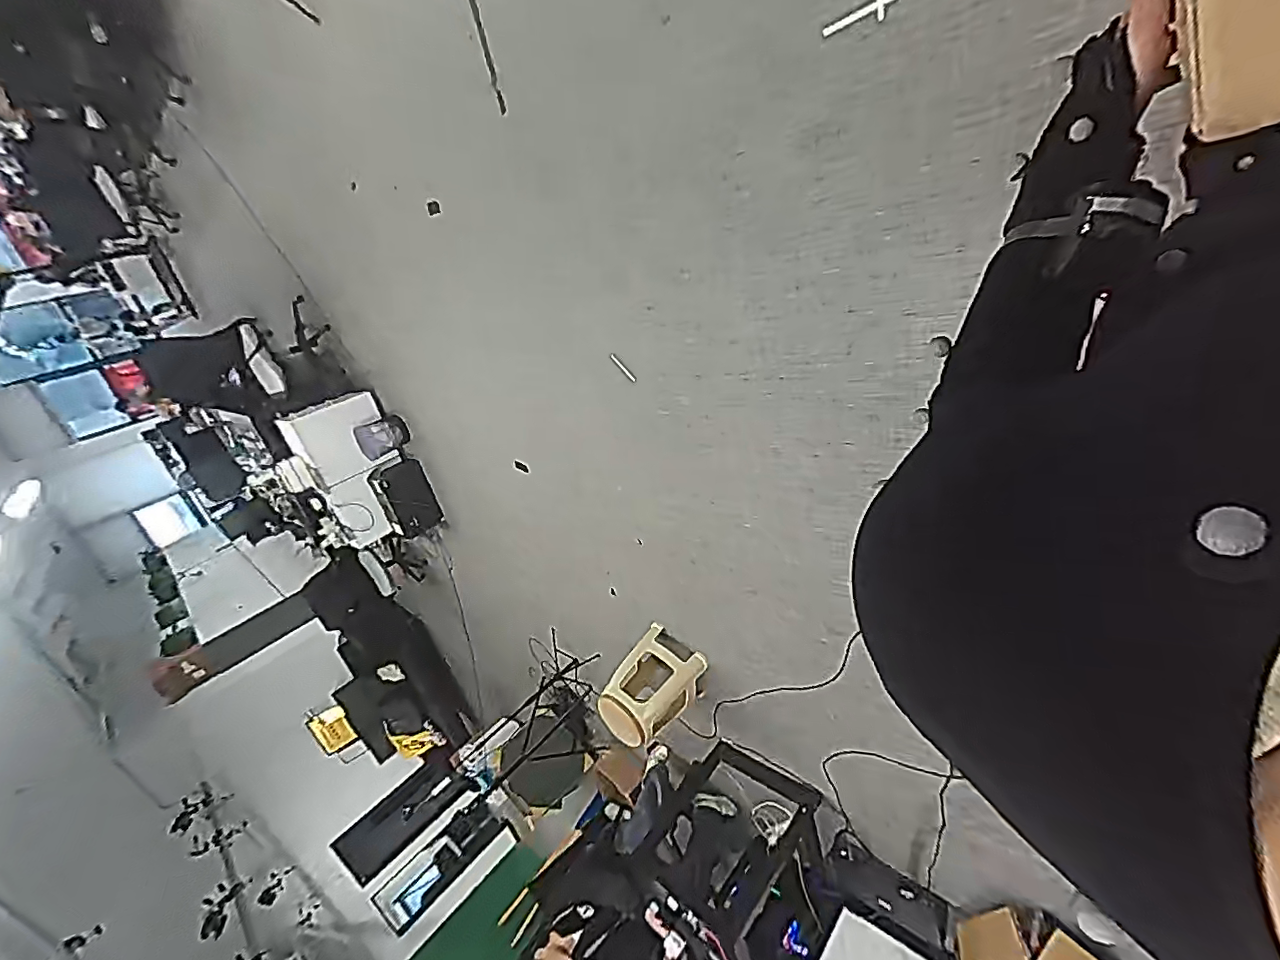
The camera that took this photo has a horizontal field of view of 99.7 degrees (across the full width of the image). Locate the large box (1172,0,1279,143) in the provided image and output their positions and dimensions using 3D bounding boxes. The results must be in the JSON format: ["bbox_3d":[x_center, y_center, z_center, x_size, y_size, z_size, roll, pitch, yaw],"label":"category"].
[{"bbox_3d":[0.385,-0.363,0.119,0.408,0.320,0.320,-5,124,46],"label":"large box"}]
